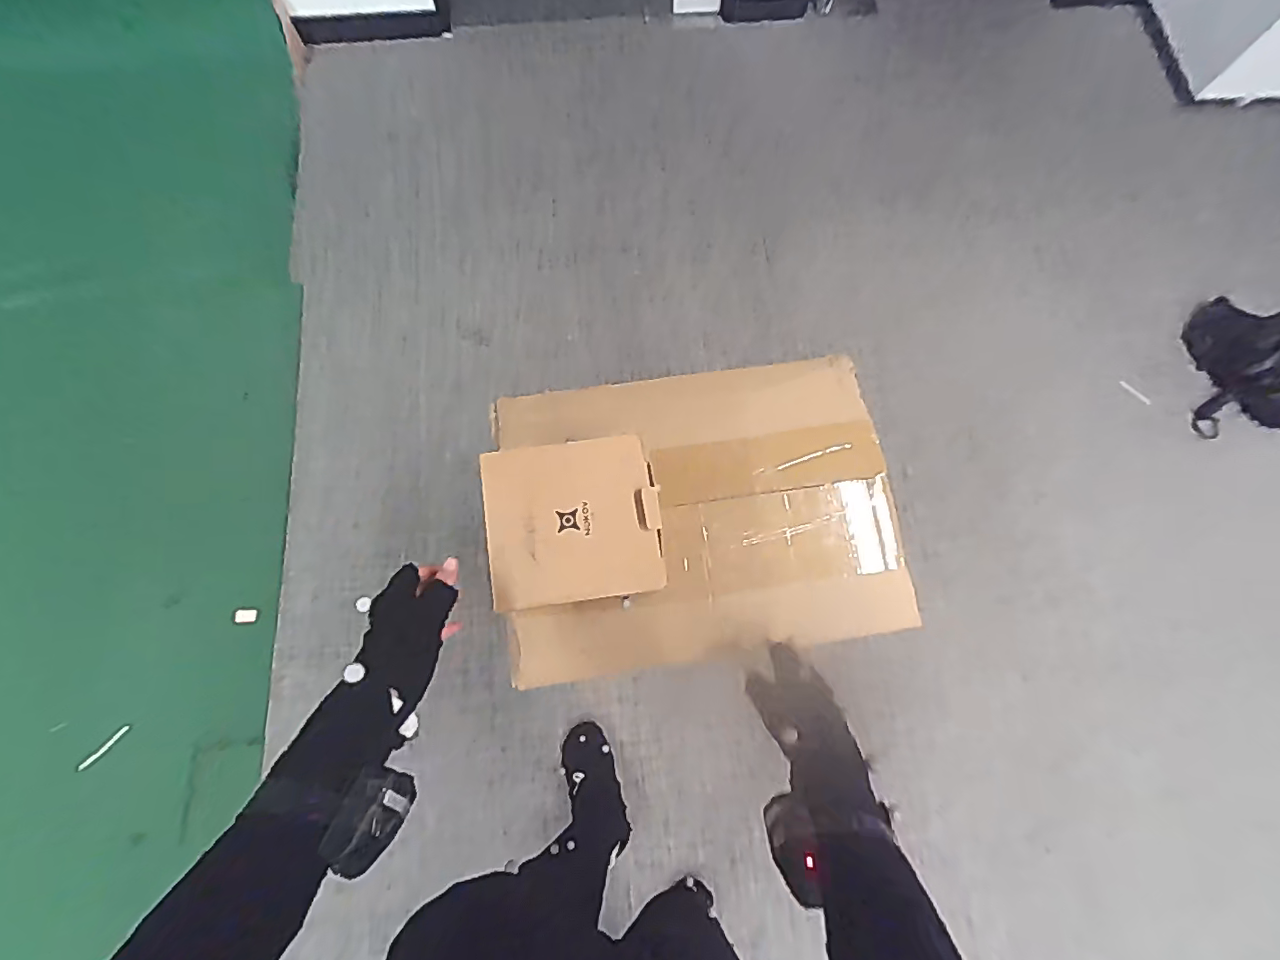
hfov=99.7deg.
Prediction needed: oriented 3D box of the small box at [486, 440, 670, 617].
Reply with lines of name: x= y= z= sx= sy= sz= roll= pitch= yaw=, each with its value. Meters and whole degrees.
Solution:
small box: x=-0.069 y=0.062 z=0.635 sx=0.179 sy=0.176 sz=0.168 roll=-8 pitch=77 yaw=-3
